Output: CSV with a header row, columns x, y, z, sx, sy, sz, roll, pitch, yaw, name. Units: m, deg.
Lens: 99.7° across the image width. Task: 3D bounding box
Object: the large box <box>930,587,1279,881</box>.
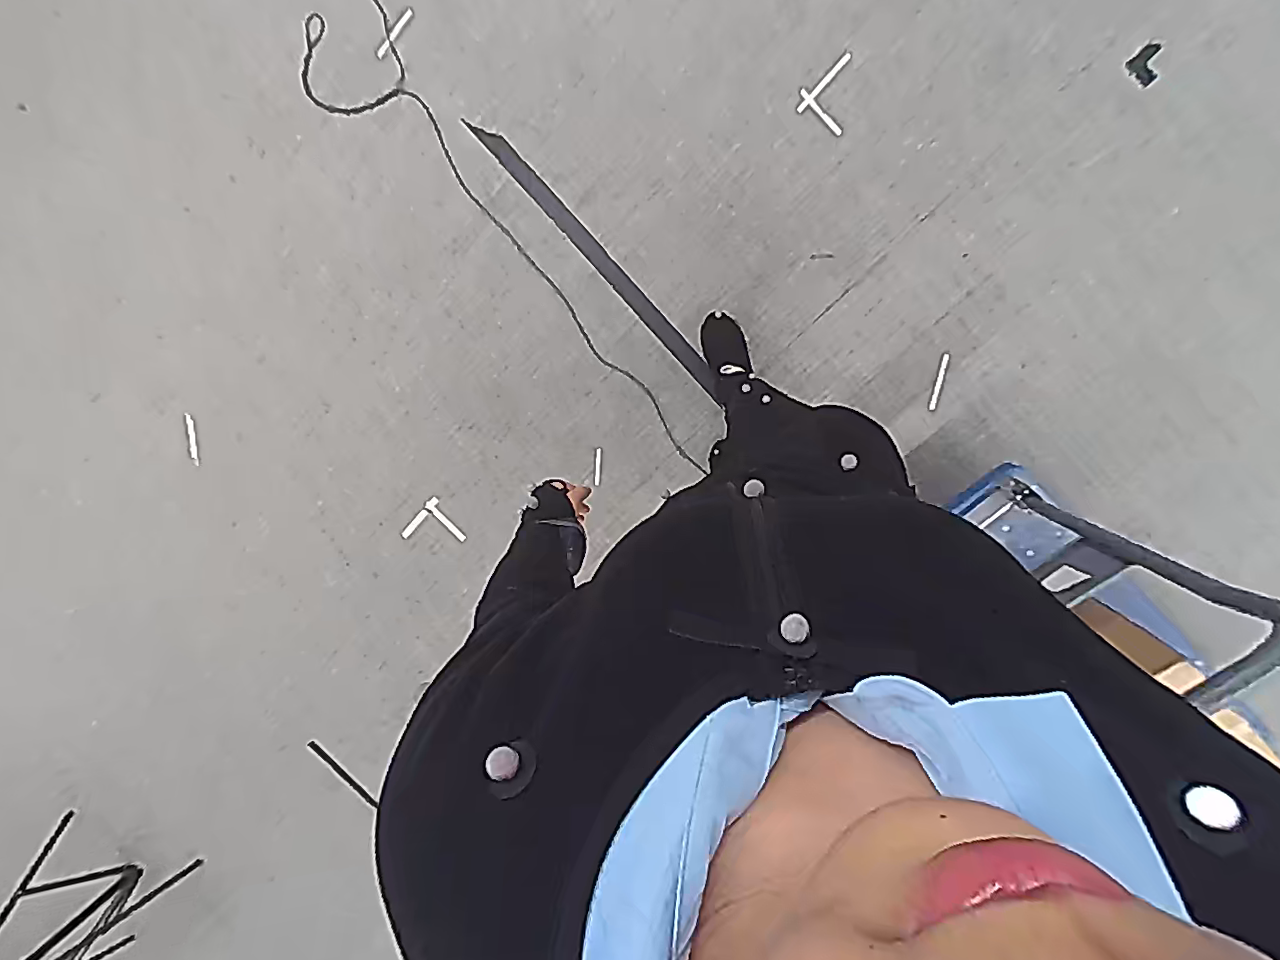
x,y,z,sx,sy,sz,roll,pitch,yaw,name
0.914,0.499,1.122,0.408,0.320,0.320,-42,93,14,large box
